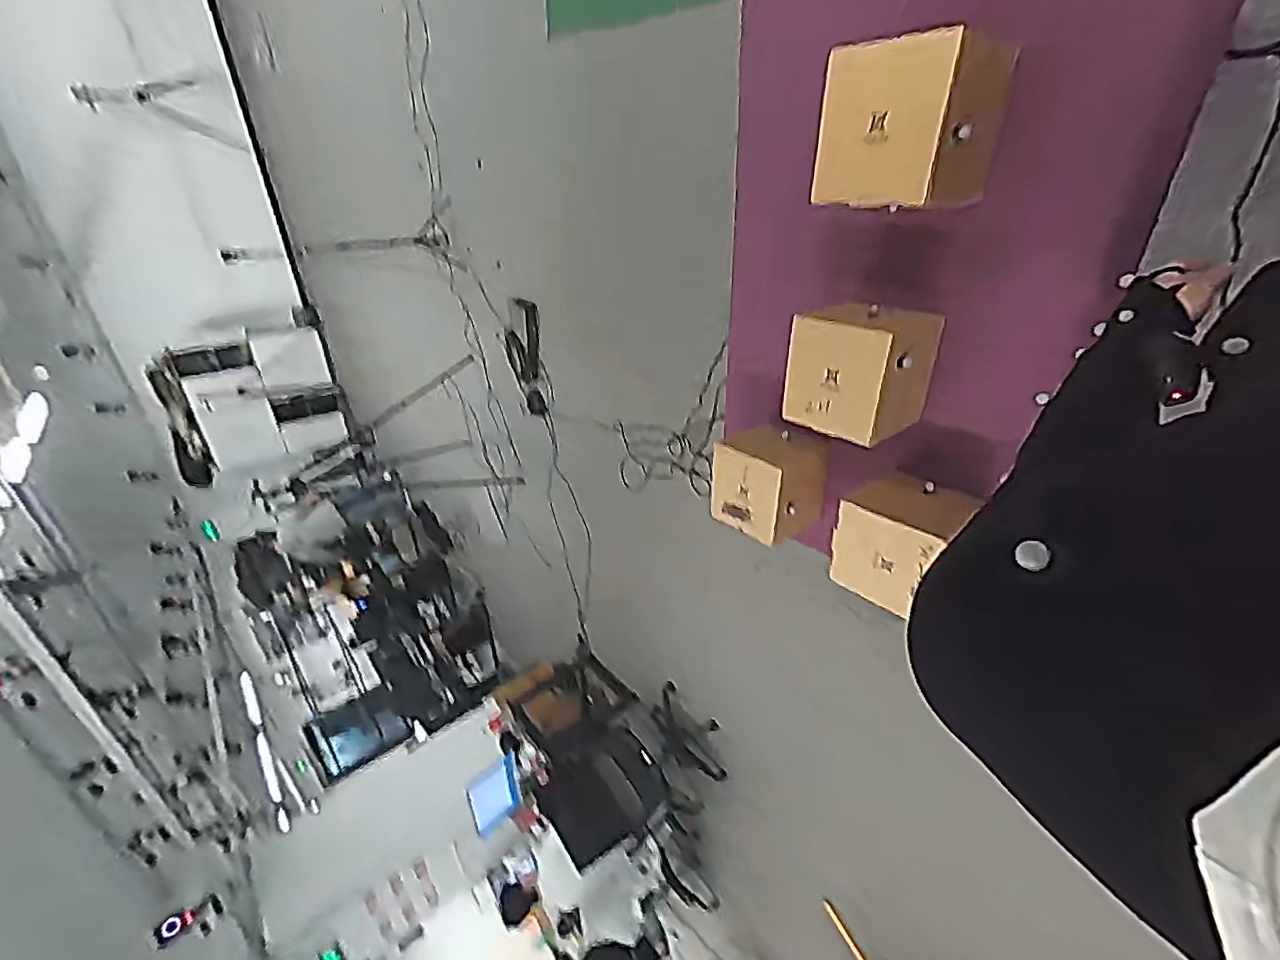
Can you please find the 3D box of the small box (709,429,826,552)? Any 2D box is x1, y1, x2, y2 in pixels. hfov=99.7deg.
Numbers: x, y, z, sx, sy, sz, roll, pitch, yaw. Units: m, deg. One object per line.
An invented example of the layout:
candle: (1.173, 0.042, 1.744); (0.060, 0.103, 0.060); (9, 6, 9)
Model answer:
small box: (0.262, 0.015, 1.118); (0.168, 0.176, 0.179); (28, 129, 42)

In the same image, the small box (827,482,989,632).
small box: (0.451, 0.118, 0.922); (0.179, 0.176, 0.168); (28, 130, 44)

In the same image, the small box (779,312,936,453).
small box: (0.356, -0.170, 0.889); (0.168, 0.176, 0.179); (29, 130, 42)

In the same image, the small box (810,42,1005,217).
small box: (0.358, -0.459, 0.728); (0.168, 0.176, 0.179); (29, 131, 41)
